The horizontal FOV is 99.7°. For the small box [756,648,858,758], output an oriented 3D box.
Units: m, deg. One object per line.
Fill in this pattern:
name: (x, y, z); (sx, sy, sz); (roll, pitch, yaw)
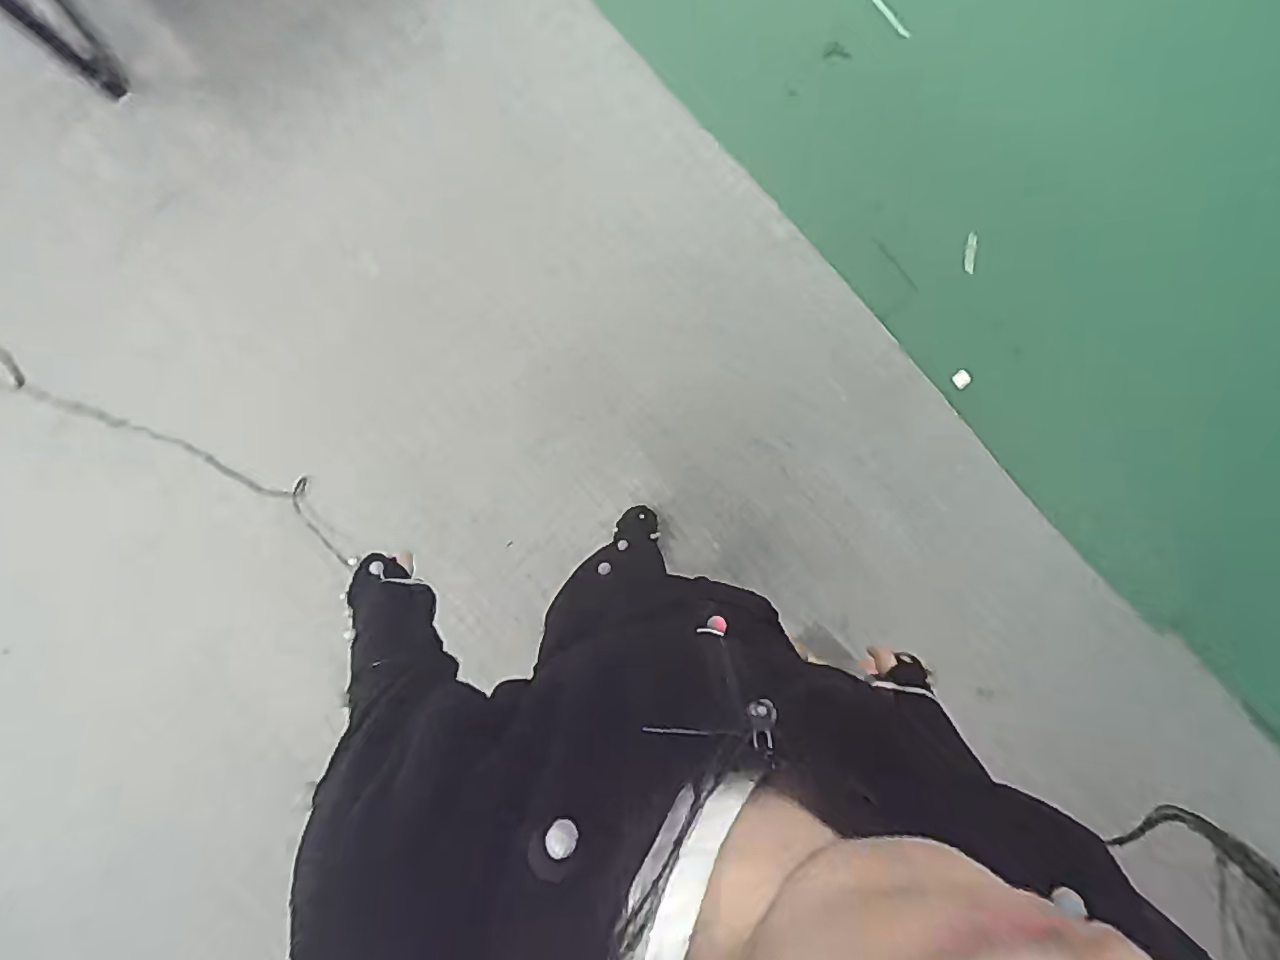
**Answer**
small box: (0.420, 0.568, 1.404); (0.179, 0.176, 0.168); (-44, 88, -4)
